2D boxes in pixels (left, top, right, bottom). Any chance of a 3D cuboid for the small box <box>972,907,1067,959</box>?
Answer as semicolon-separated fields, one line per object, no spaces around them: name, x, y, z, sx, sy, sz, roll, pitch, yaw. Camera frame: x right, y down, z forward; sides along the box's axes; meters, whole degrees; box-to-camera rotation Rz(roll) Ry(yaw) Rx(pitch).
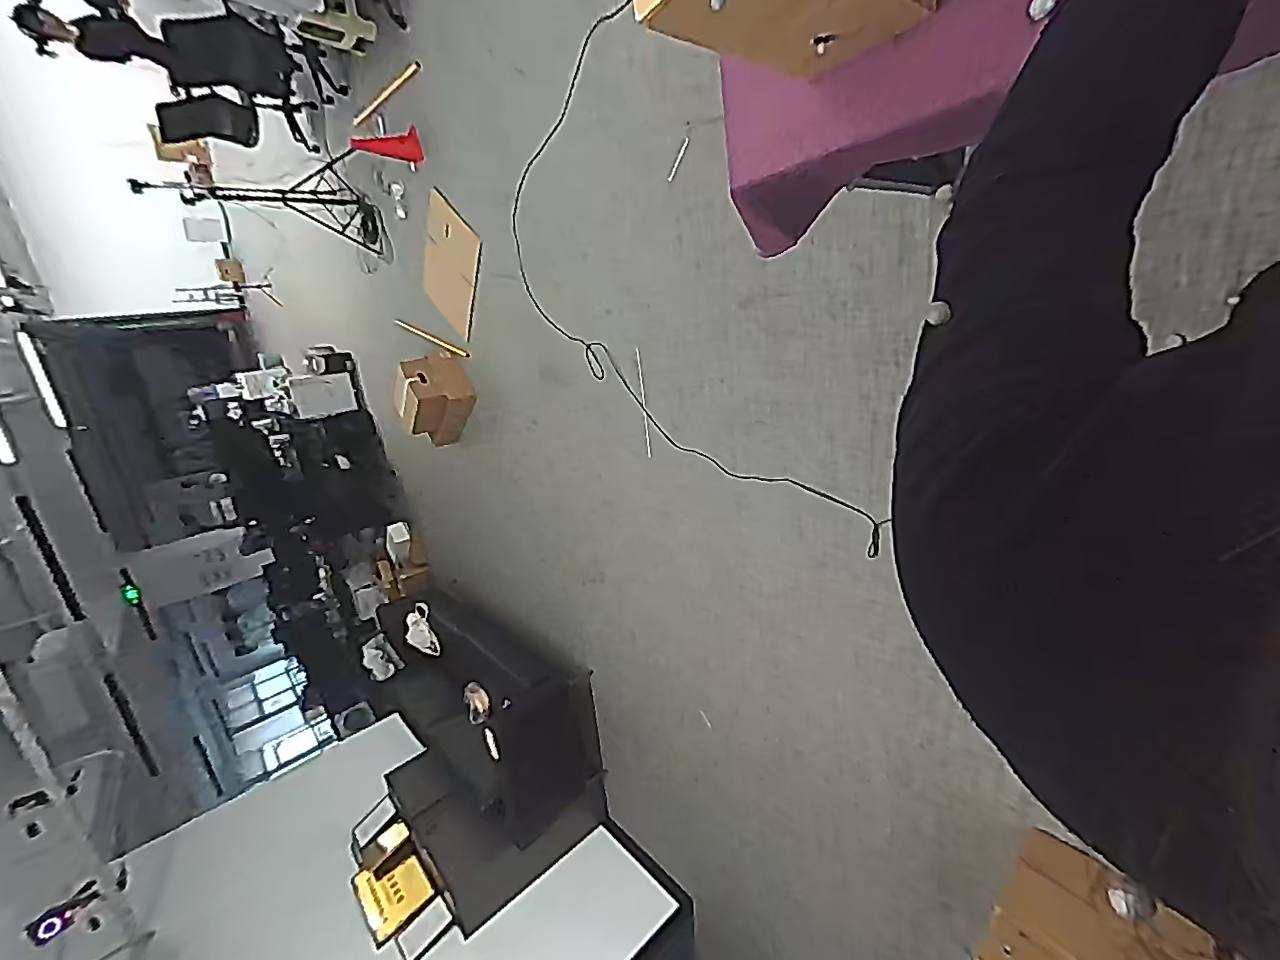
small box;0.911;1.199;1.308;0.168;0.176;0.179;24;126;45

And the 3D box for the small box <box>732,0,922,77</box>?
small box;0.218;-0.612;0.632;0.179;0.176;0.168;7;111;50

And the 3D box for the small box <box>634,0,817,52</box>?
small box;0.100;-0.568;0.529;0.179;0.176;0.168;5;110;50
